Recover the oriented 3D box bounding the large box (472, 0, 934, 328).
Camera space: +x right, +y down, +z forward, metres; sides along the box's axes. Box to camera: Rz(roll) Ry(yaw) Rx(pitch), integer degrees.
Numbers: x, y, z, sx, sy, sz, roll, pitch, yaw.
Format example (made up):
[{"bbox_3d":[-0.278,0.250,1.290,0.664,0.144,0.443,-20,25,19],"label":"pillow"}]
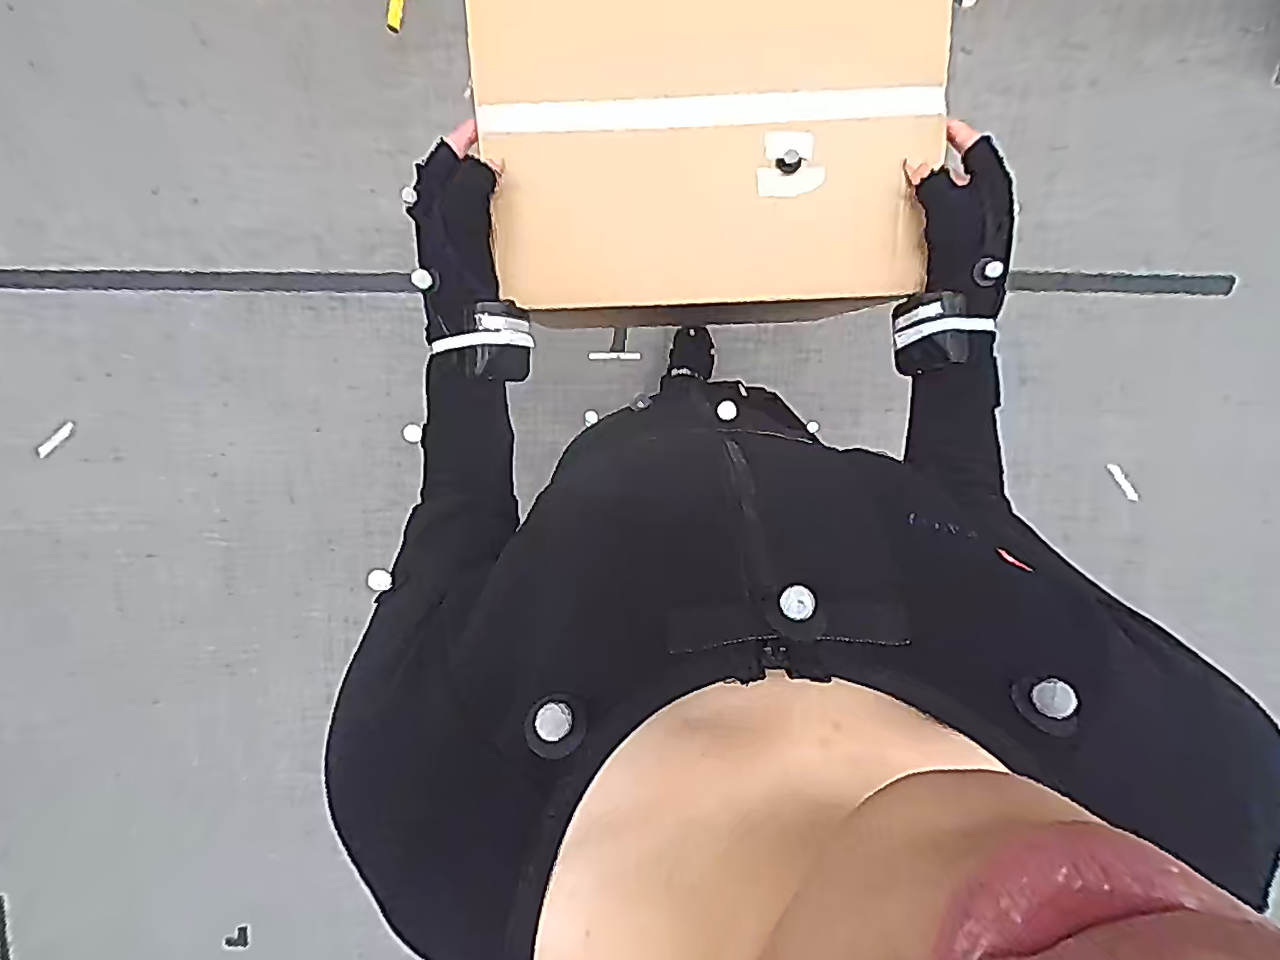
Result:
[{"bbox_3d":[0.055,-0.357,0.626,0.408,0.320,0.320,-2,102,-1],"label":"large box"}]
